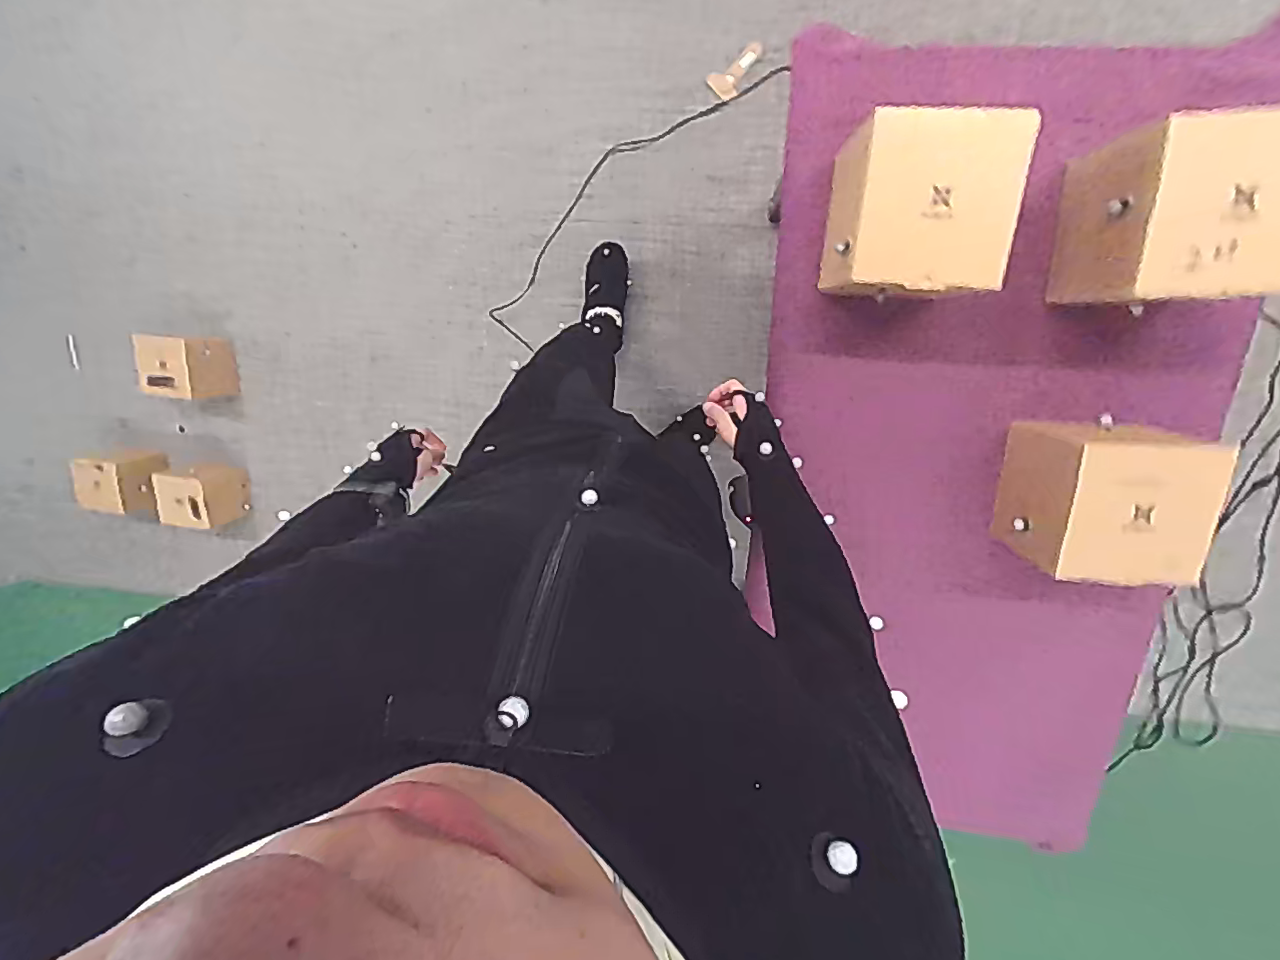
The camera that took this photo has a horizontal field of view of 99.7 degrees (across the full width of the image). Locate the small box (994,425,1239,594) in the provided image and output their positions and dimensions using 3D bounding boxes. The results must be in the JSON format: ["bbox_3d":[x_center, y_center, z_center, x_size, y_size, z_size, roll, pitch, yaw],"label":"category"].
[{"bbox_3d":[0.608,0.031,0.722,0.168,0.176,0.179,3,105,6],"label":"small box"}]

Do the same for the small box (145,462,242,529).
[{"bbox_3d":[-1.423,0.044,1.740,0.179,0.176,0.168,7,106,6],"label":"small box"}]

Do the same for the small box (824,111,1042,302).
[{"bbox_3d":[0.334,-0.317,0.657,0.168,0.176,0.179,5,107,5],"label":"small box"}]

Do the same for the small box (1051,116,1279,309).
[{"bbox_3d":[0.621,-0.294,0.627,0.168,0.176,0.179,2,106,8],"label":"small box"}]

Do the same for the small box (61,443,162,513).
[{"bbox_3d":[-1.707,-0.010,1.763,0.168,0.176,0.179,8,107,5],"label":"small box"}]
